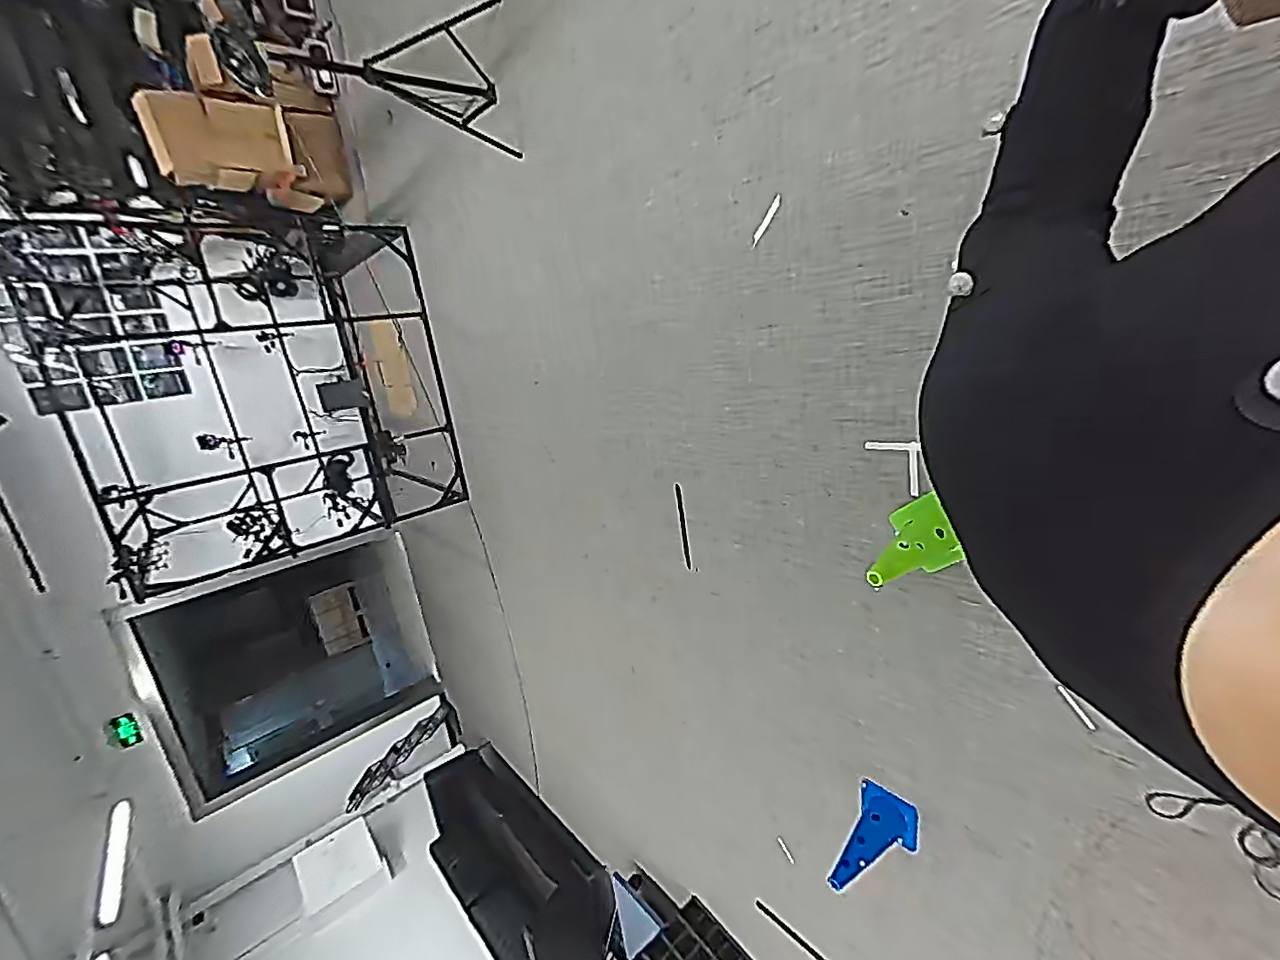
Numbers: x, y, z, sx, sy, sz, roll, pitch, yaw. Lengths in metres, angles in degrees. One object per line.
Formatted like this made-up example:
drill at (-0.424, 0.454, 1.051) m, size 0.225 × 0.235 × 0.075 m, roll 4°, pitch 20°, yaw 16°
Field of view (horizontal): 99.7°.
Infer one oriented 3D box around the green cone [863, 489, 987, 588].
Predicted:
green cone at (0.699, 0.189, 1.414) m, size 0.200 × 0.368 × 0.202 m, roll 60°, pitch 144°, yaw 15°

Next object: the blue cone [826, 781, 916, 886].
blue cone at (0.763, 1.238, 1.834) m, size 0.192 × 0.380 × 0.193 m, roll 16°, pitch 117°, yaw 49°
